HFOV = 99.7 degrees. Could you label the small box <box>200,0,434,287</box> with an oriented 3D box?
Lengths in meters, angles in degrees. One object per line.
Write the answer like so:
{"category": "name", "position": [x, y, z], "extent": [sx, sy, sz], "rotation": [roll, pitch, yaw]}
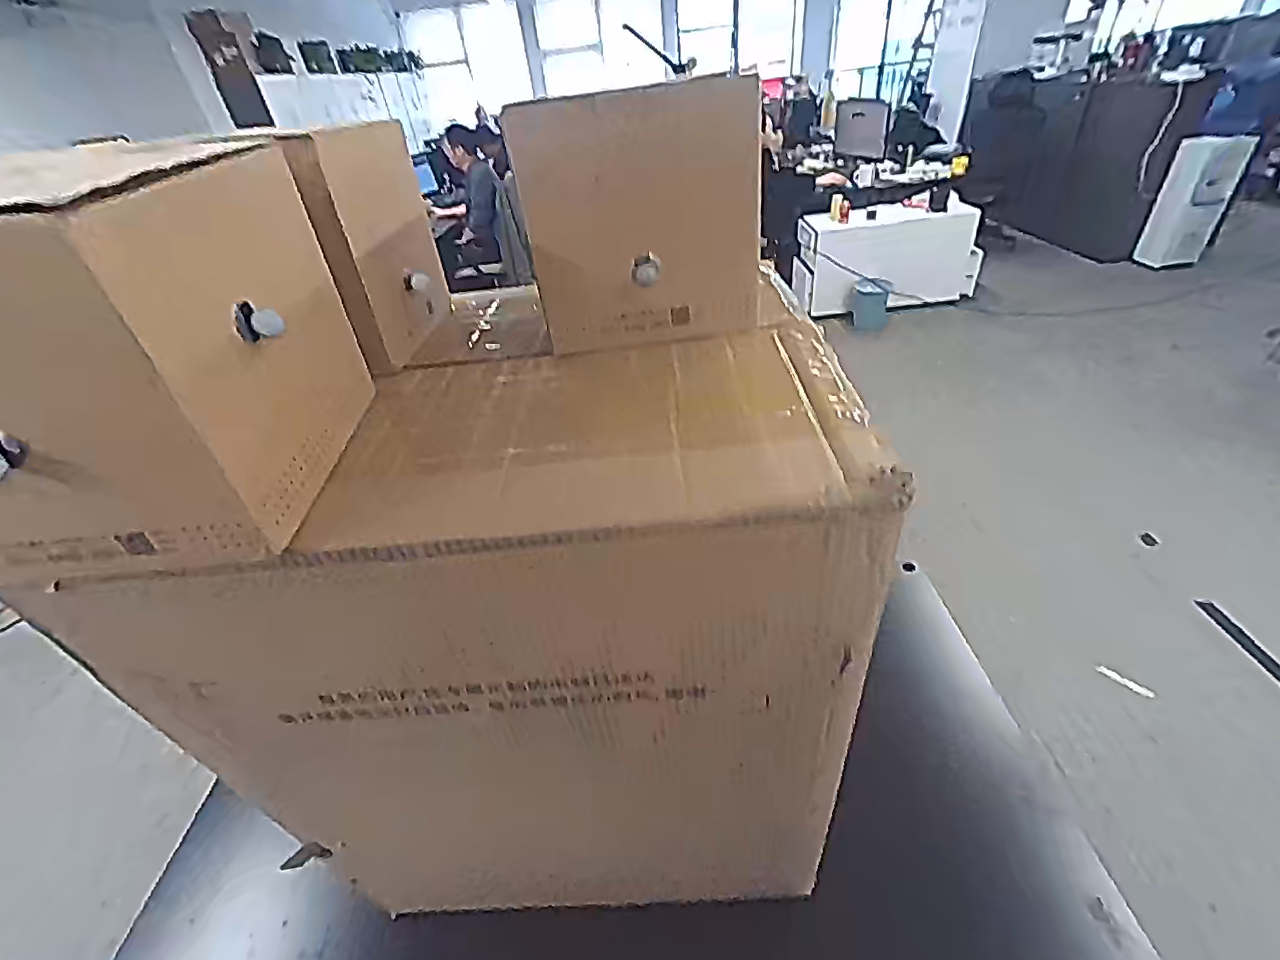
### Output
{"category": "small box", "position": [-0.271, -0.233, 0.371], "extent": [0.179, 0.176, 0.168], "rotation": [-3, 36, 2]}

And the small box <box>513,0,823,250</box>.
{"category": "small box", "position": [0.015, -0.267, 0.369], "extent": [0.168, 0.176, 0.179], "rotation": [-7, 35, 2]}

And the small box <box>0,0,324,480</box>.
{"category": "small box", "position": [-0.257, -0.110, 0.208], "extent": [0.168, 0.176, 0.179], "rotation": [-6, 40, -3]}
